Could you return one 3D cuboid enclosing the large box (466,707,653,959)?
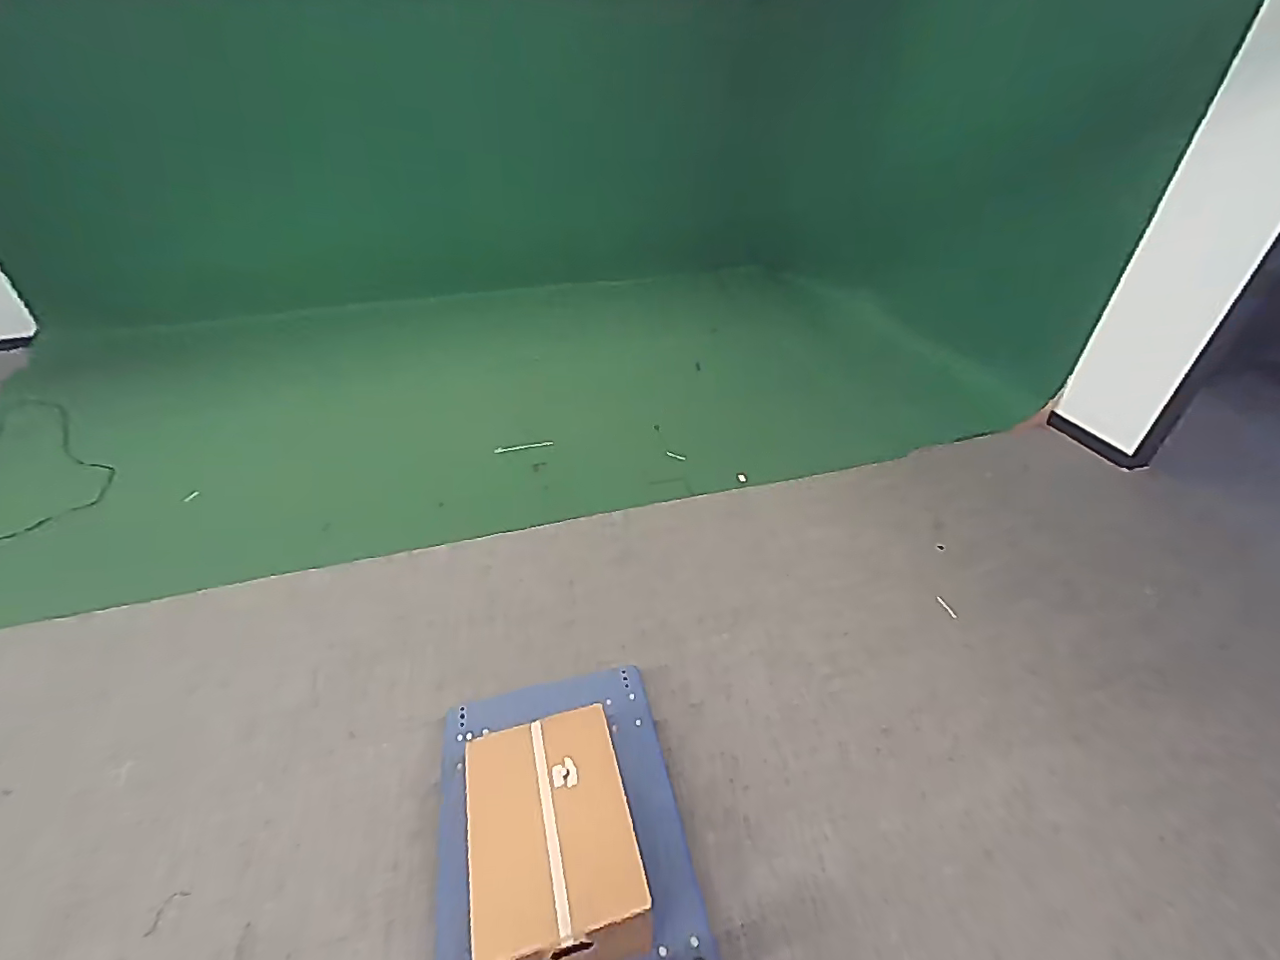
[{"bbox_3d":[-0.178,0.792,1.172,0.320,0.320,0.408,-11,39,-12],"label":"large box"}]
